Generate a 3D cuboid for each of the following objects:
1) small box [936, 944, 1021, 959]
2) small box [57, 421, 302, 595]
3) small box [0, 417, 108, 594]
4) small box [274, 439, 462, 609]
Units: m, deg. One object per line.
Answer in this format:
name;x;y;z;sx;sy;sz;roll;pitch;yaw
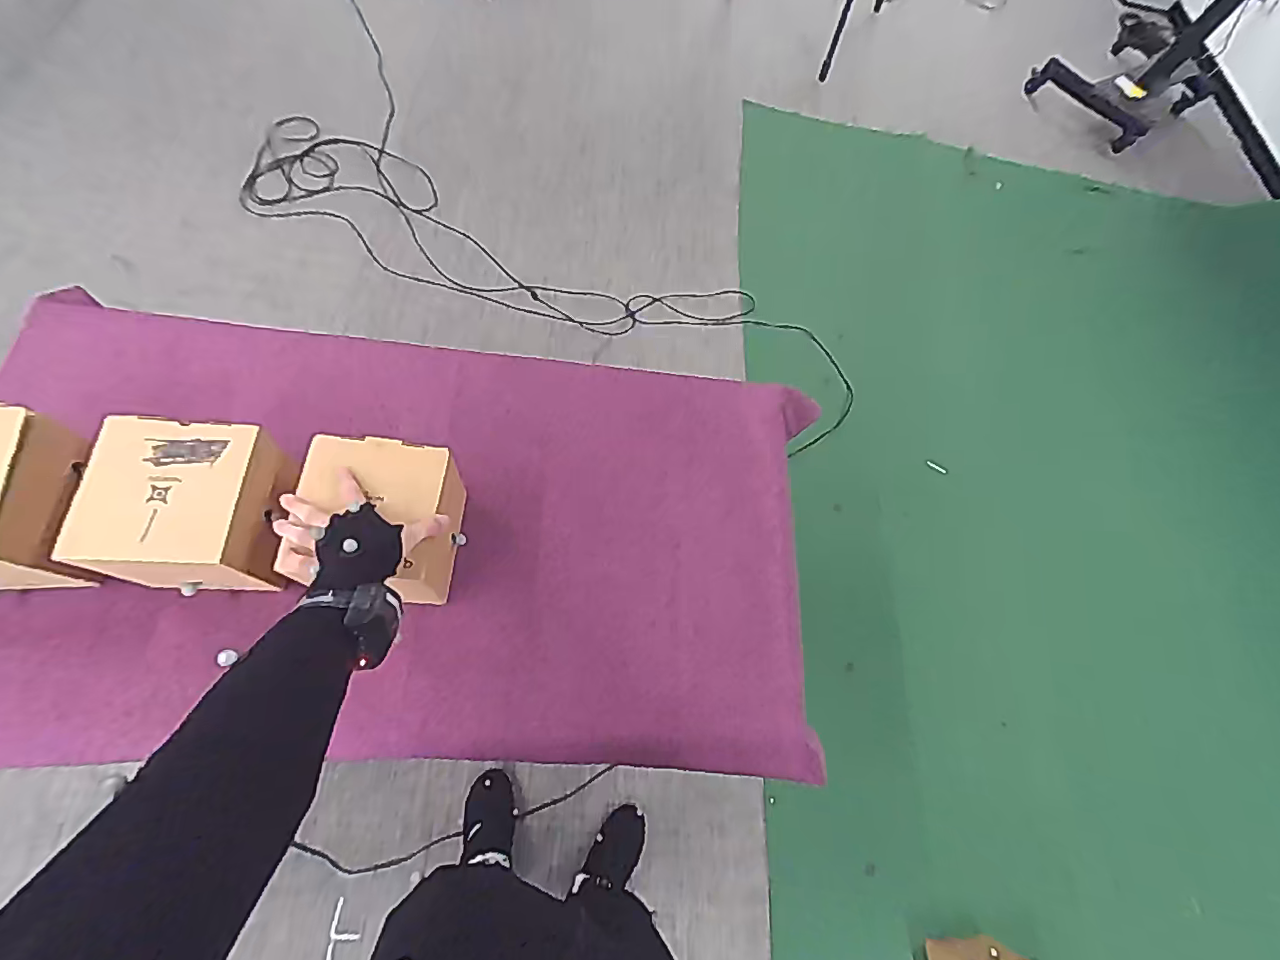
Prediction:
small box;0.815;1.207;1.247;0.179;0.176;0.168;5;67;-8
small box;-0.563;0.044;0.699;0.168;0.176;0.179;4;69;-8
small box;-0.787;0.037;0.665;0.168;0.176;0.179;-1;69;-9
small box;-0.344;0.067;0.727;0.168;0.176;0.179;5;67;-7
